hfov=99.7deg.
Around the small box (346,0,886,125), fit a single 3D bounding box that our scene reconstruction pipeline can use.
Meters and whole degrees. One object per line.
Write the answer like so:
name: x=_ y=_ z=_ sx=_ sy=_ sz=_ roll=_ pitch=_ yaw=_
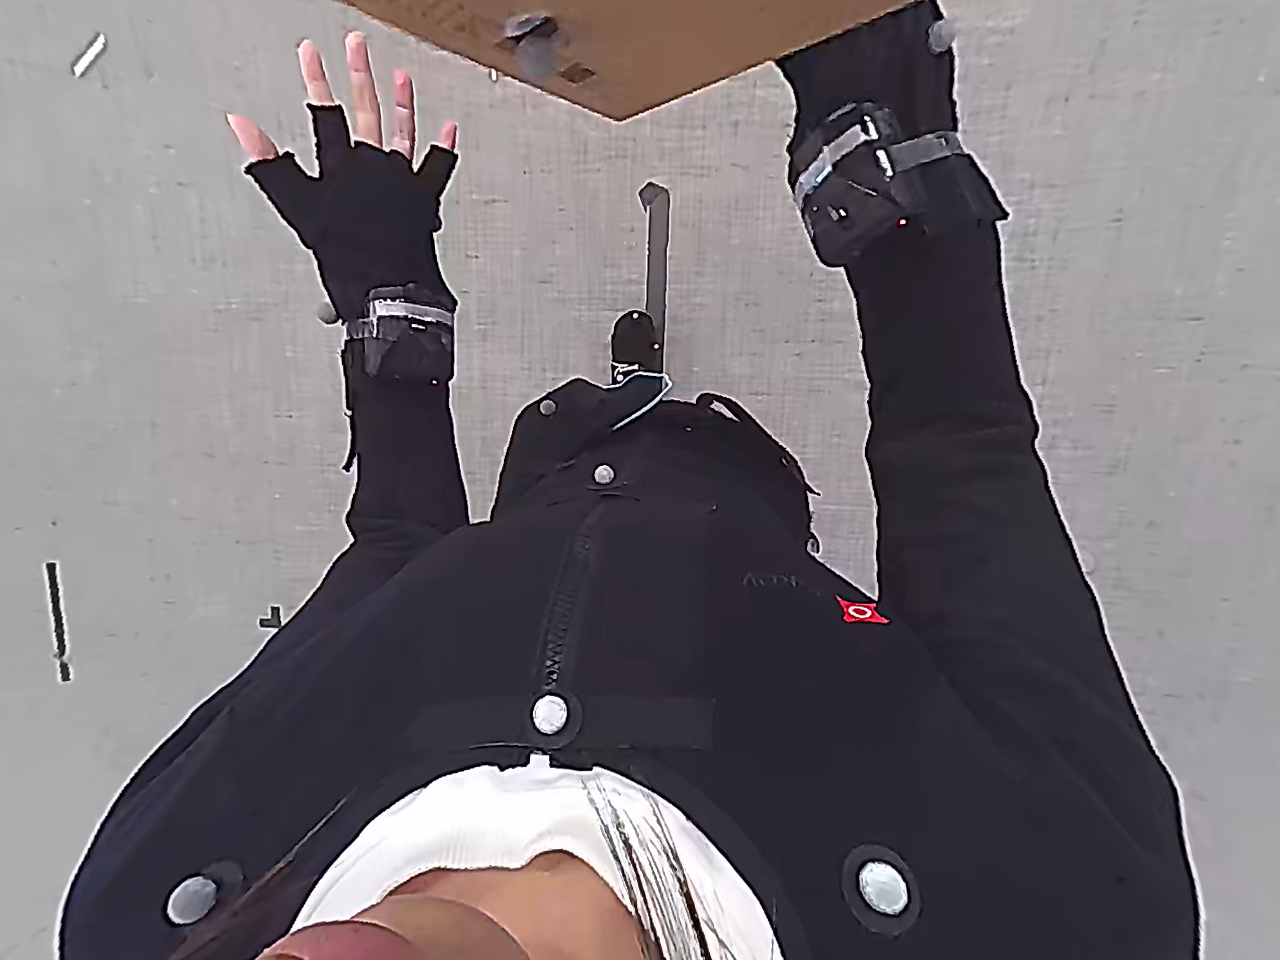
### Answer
small box: x=-0.016 y=-0.271 z=0.200 sx=0.176 sy=0.168 sz=0.179 roll=7 pitch=108 yaw=40
